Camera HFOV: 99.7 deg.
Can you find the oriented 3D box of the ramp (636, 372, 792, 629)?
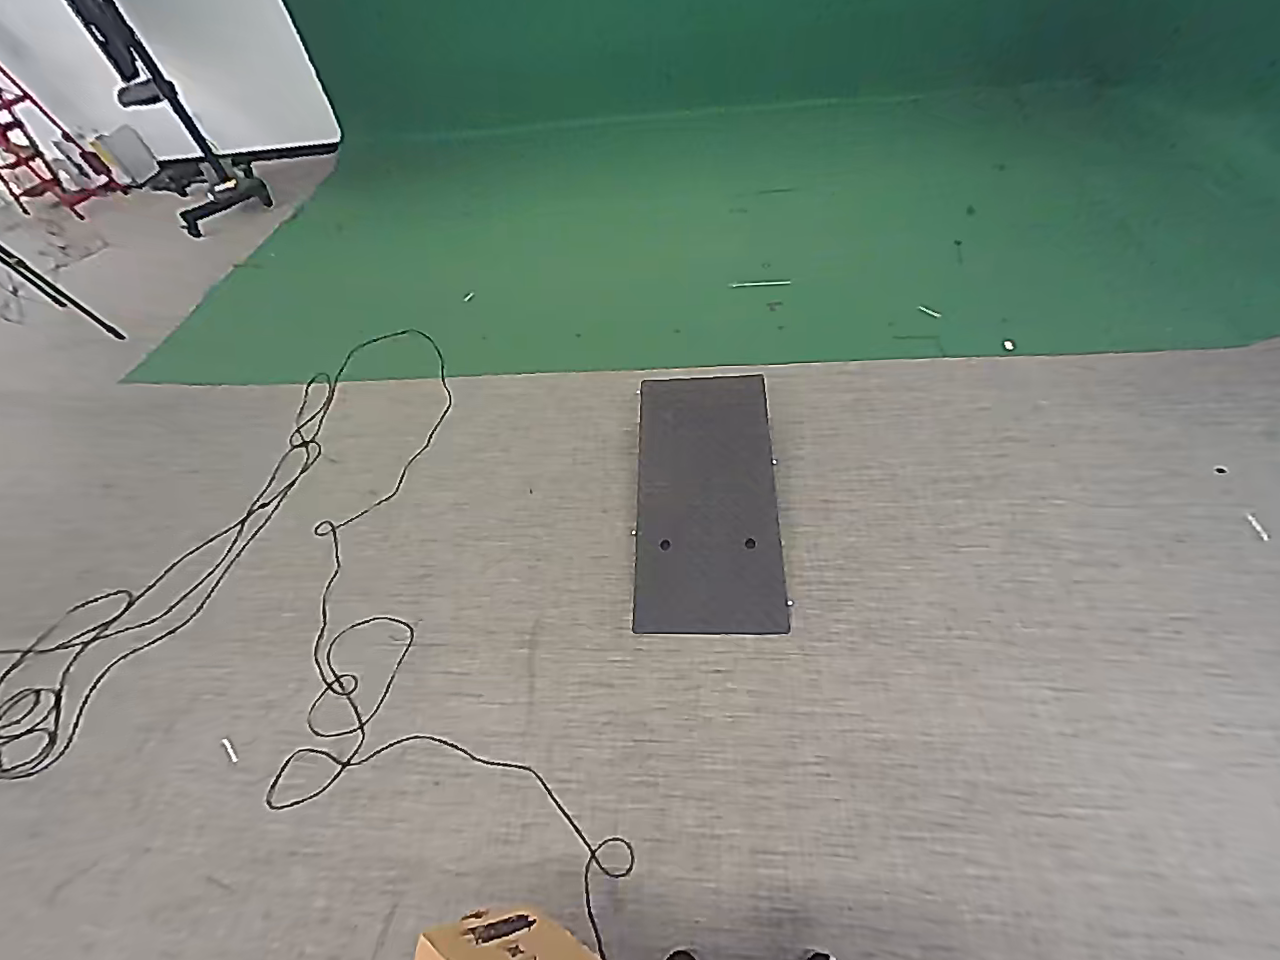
[{"bbox_3d":[0.242,0.024,1.915,0.509,0.206,0.991,-2,52,5],"label":"ramp"}]
